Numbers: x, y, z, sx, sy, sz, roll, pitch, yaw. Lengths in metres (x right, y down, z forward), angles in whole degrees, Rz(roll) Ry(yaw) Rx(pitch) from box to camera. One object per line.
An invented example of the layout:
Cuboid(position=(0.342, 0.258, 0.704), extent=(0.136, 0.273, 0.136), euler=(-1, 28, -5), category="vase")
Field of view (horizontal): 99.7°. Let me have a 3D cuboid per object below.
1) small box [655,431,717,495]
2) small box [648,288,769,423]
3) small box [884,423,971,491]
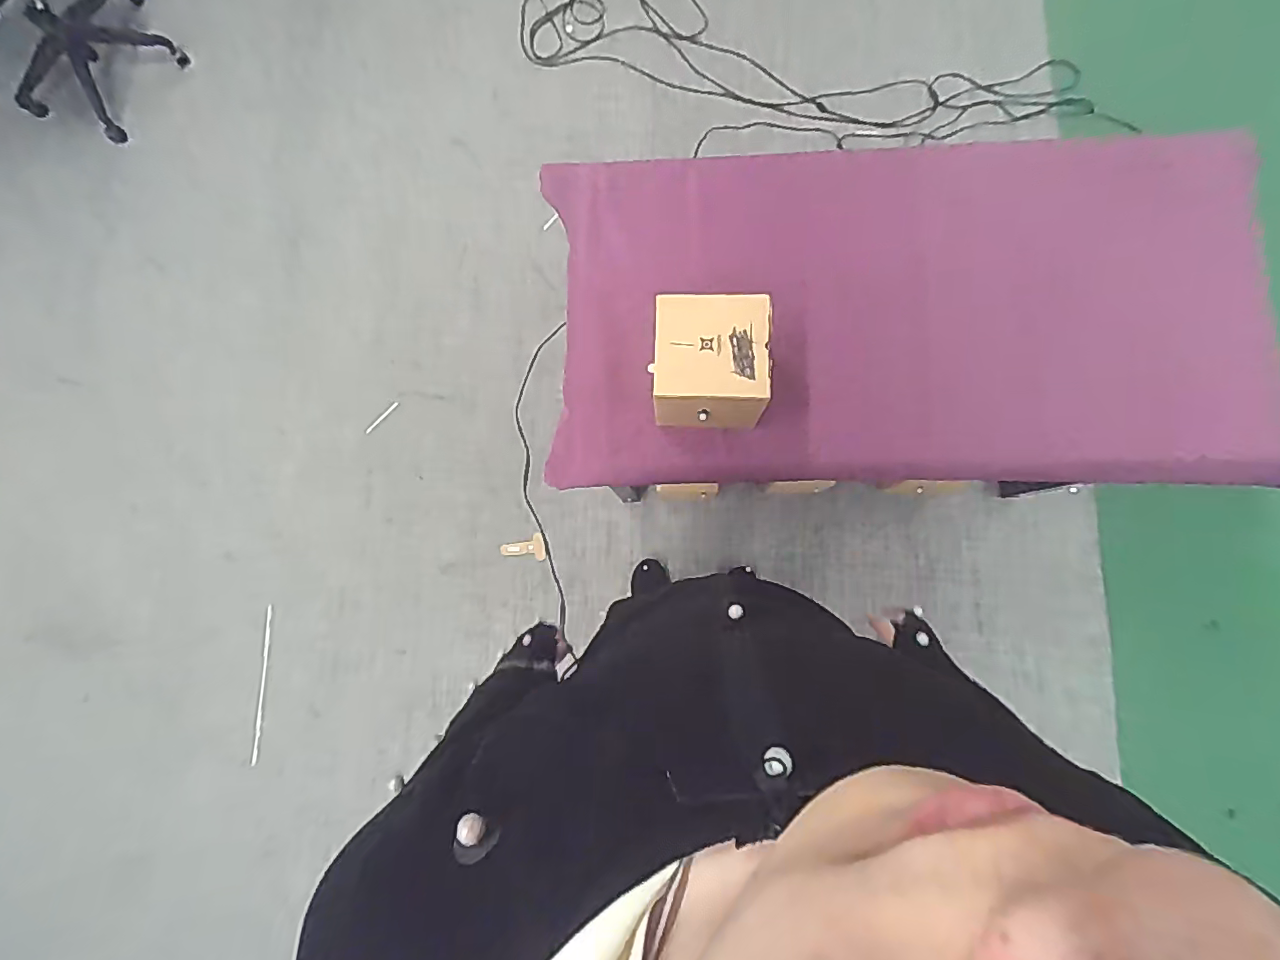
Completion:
Cuboid(position=(0.137, -0.046, 1.597), extent=(0.179, 0.176, 0.168), euler=(0, 82, 4), category="small box")
Cuboid(position=(0.109, -0.195, 0.881), extent=(0.179, 0.176, 0.168), euler=(2, 81, 6), category="small box")
Cuboid(position=(0.812, -0.061, 1.544), extent=(0.179, 0.176, 0.168), euler=(3, 82, 5), category="small box")
